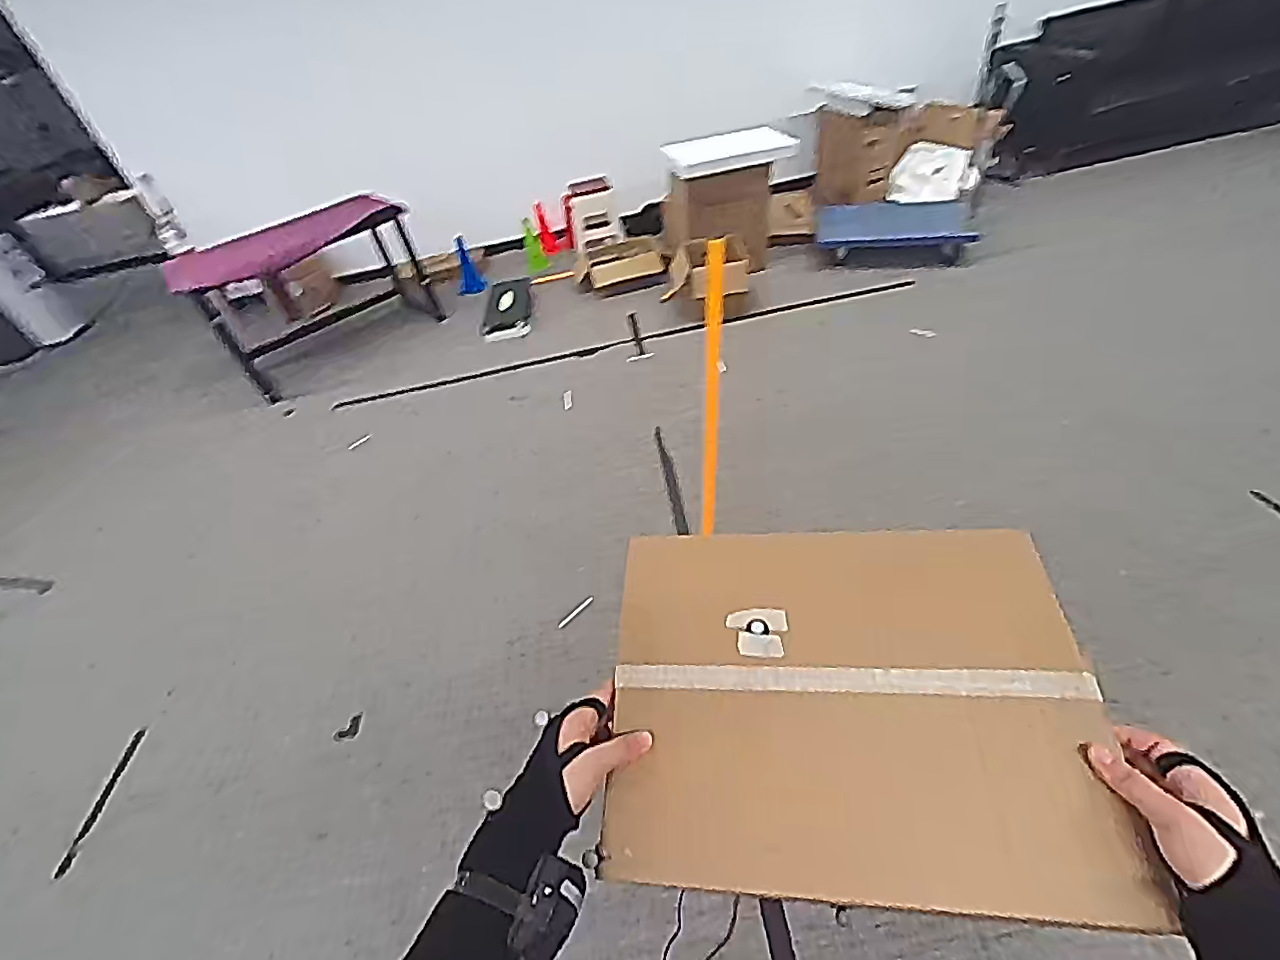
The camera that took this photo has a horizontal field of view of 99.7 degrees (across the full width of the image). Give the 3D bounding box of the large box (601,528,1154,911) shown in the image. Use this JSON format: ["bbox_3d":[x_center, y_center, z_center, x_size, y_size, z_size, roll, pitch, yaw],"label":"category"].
[{"bbox_3d":[0.198,0.275,0.609,0.408,0.320,0.320,-4,51,11],"label":"large box"}]
